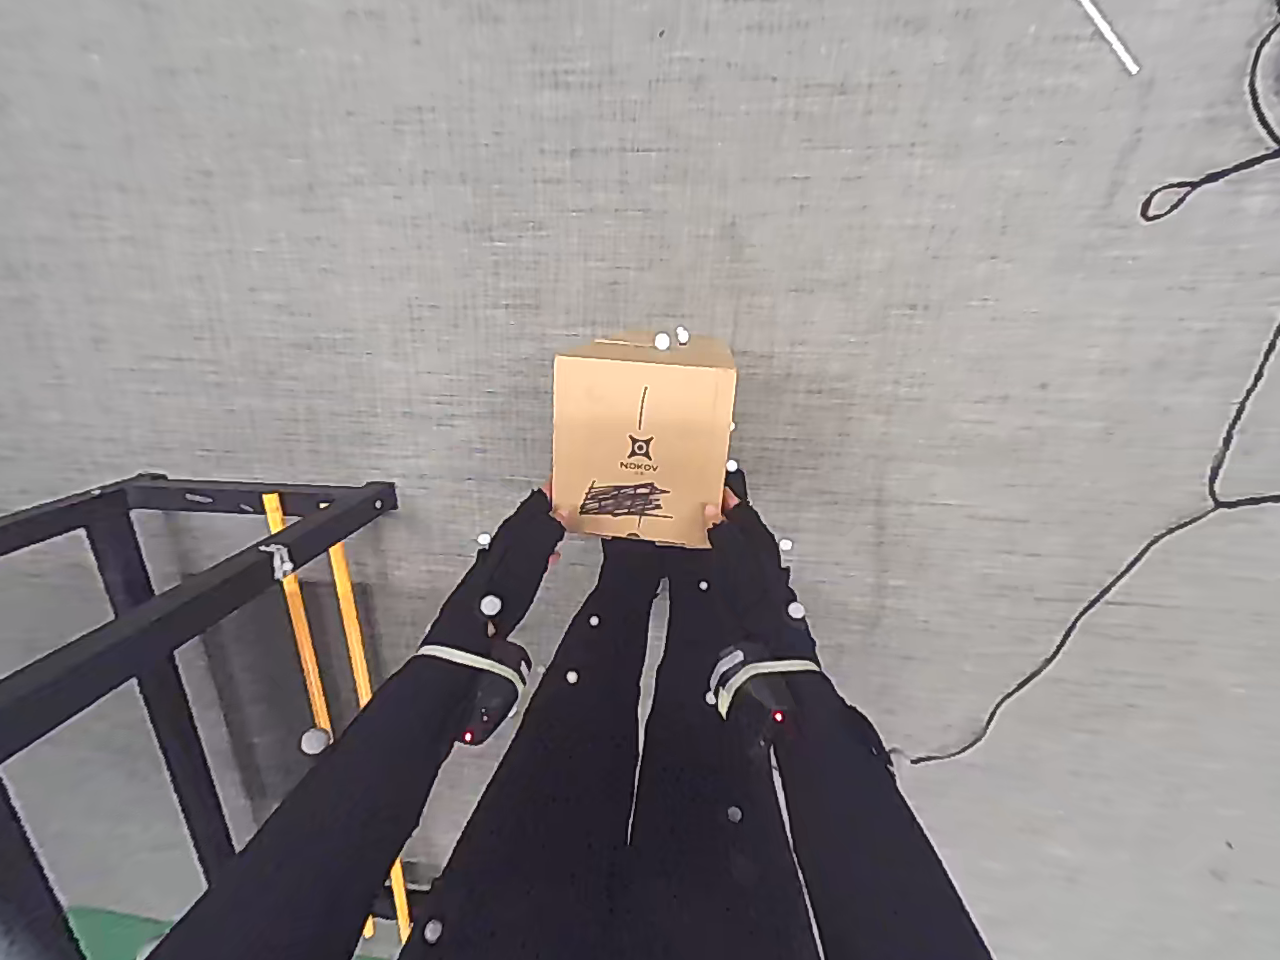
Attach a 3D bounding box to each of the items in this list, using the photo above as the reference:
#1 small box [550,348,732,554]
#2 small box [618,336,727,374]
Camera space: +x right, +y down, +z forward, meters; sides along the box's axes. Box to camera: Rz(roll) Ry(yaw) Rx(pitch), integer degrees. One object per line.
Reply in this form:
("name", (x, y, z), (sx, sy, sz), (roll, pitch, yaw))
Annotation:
("small box", (0.006, -0.042, 0.588), (0.168, 0.176, 0.179), (6, 108, 5))
("small box", (0.047, -0.141, 0.896), (0.168, 0.176, 0.179), (8, 109, 5))
